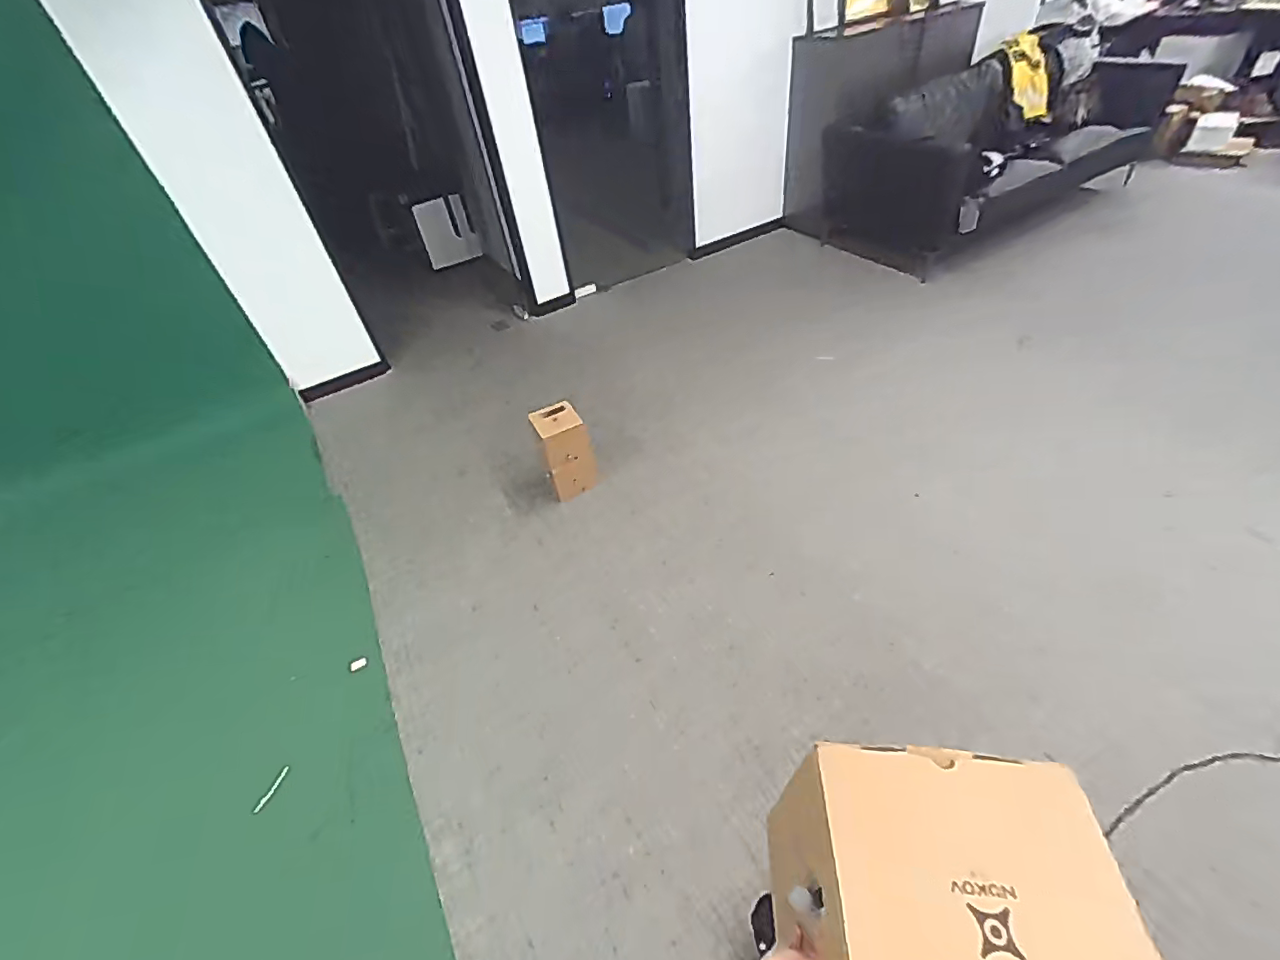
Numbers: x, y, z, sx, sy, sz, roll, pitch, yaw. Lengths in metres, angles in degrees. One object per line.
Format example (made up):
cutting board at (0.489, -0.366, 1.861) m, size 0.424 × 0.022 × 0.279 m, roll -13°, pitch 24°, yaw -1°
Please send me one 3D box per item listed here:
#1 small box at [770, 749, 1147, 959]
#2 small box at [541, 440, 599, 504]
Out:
small box at (0.185, 0.303, 0.348) m, size 0.168 × 0.176 × 0.179 m, roll 5°, pitch 43°, yaw 3°
small box at (-0.279, -0.024, 2.190) m, size 0.168 × 0.176 × 0.179 m, roll -25°, pitch 46°, yaw -17°
